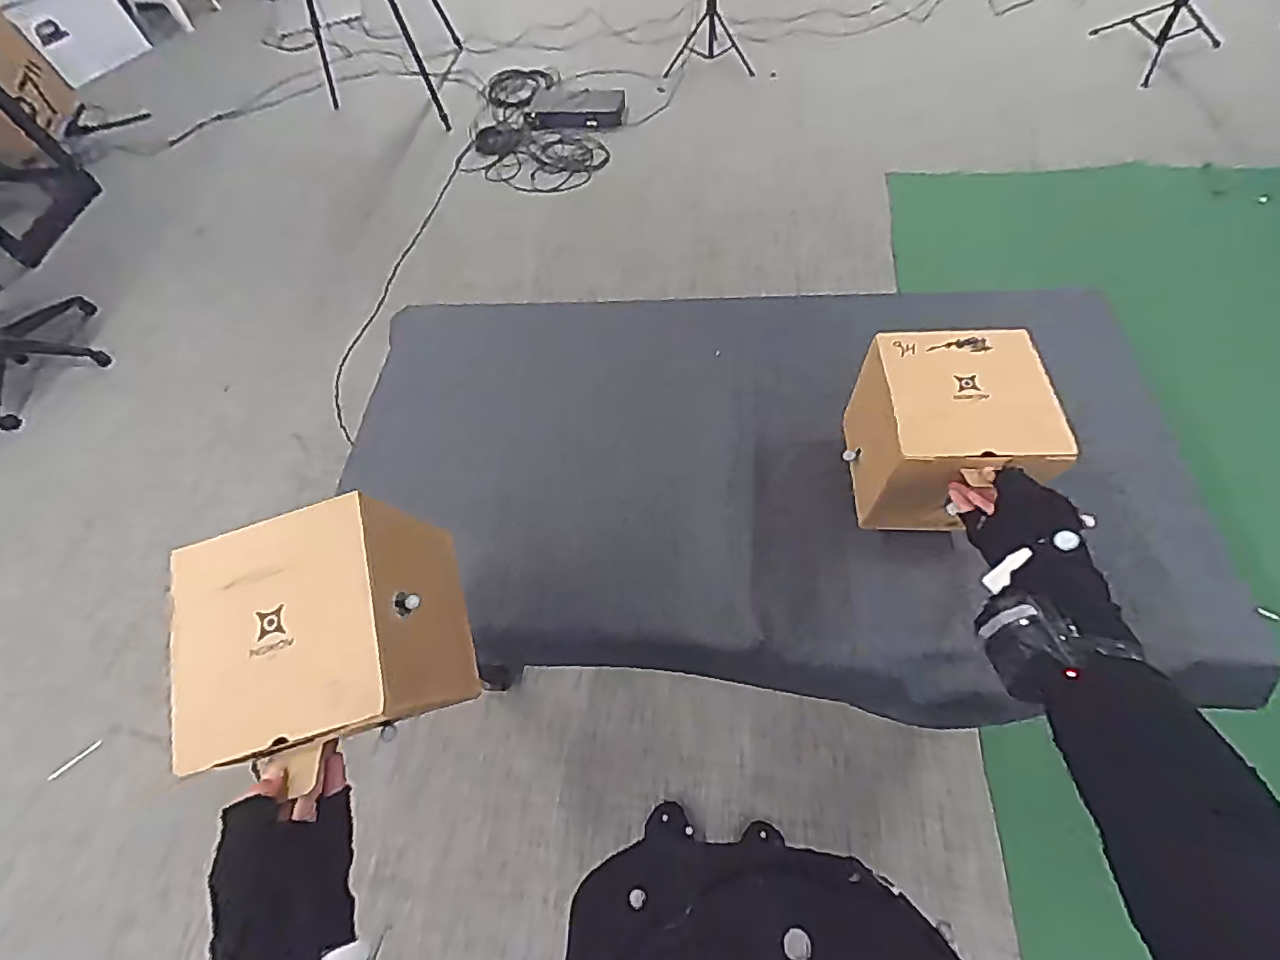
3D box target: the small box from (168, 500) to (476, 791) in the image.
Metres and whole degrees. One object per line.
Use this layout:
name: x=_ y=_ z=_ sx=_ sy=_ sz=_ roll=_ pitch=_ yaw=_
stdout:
small box: x=-0.263 y=0.140 z=0.478 sx=0.168 sy=0.176 sz=0.179 roll=-18 pitch=70 yaw=1

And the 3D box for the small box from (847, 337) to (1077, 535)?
small box: x=0.355 y=-0.044 z=0.639 sx=0.168 sy=0.176 sz=0.179 roll=0 pitch=60 yaw=6
